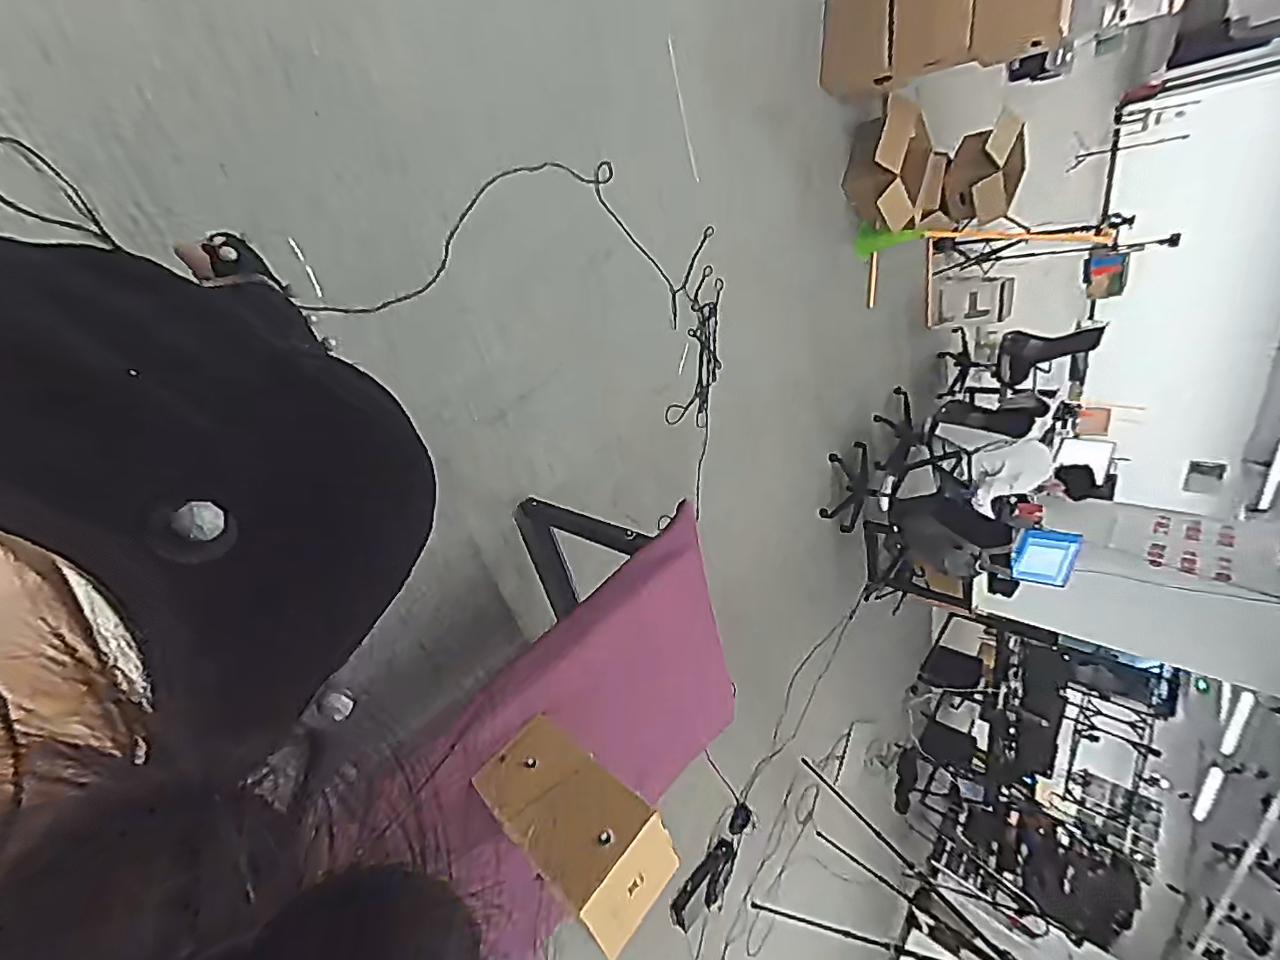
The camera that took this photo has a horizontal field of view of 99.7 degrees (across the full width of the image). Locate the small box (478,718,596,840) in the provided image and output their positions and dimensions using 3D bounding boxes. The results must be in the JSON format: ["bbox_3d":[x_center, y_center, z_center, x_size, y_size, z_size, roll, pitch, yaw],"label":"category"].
[{"bbox_3d":[-0.176,0.582,1.018,0.168,0.176,0.179,-36,124,-33],"label":"small box"}]

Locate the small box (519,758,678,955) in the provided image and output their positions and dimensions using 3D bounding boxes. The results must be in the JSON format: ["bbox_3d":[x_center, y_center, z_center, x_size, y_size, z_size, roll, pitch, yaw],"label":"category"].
[{"bbox_3d":[-0.067,0.610,0.900,0.179,0.176,0.168,-36,123,-33],"label":"small box"}]
